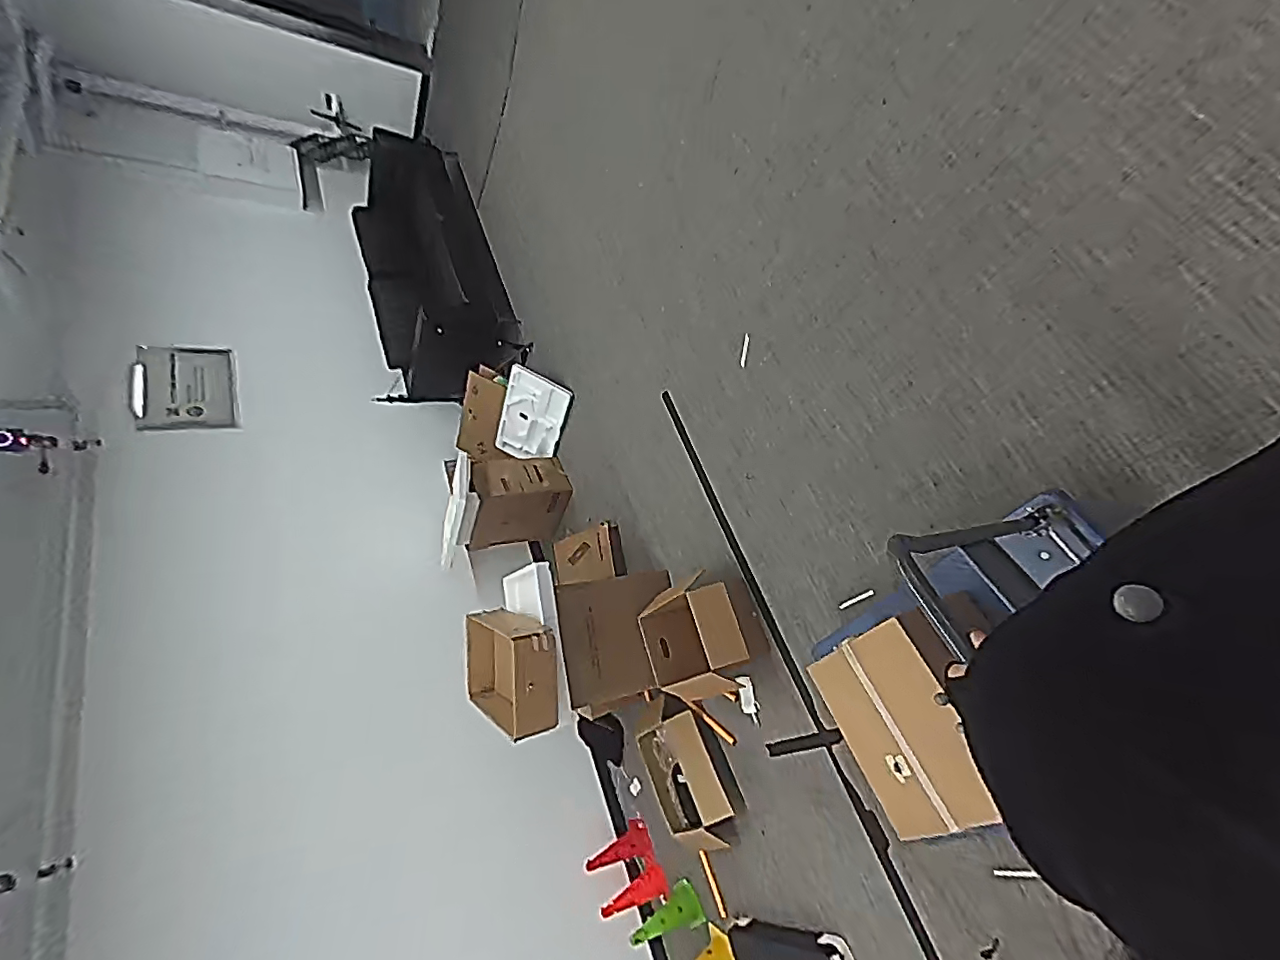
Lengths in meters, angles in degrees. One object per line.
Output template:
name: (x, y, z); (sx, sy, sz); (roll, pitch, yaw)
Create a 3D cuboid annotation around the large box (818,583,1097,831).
large box: (0.708, 0.505, 1.249); (0.408, 0.320, 0.320); (64, 142, 28)
